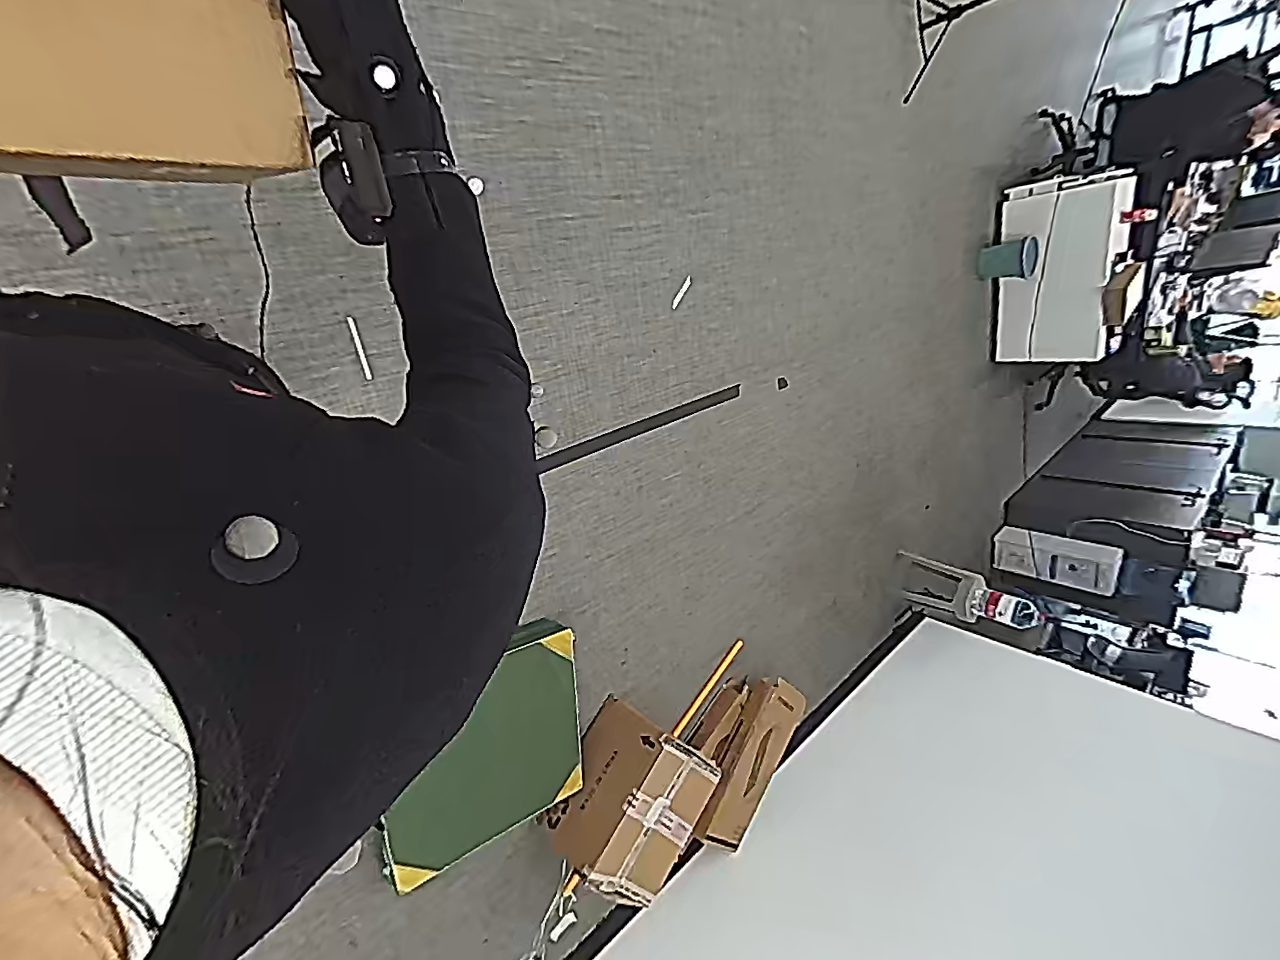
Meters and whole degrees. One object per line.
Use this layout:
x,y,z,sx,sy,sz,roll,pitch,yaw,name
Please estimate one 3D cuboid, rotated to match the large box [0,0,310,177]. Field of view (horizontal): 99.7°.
-0.475,-0.349,0.291,0.408,0.320,0.320,-21,125,-37,large box
